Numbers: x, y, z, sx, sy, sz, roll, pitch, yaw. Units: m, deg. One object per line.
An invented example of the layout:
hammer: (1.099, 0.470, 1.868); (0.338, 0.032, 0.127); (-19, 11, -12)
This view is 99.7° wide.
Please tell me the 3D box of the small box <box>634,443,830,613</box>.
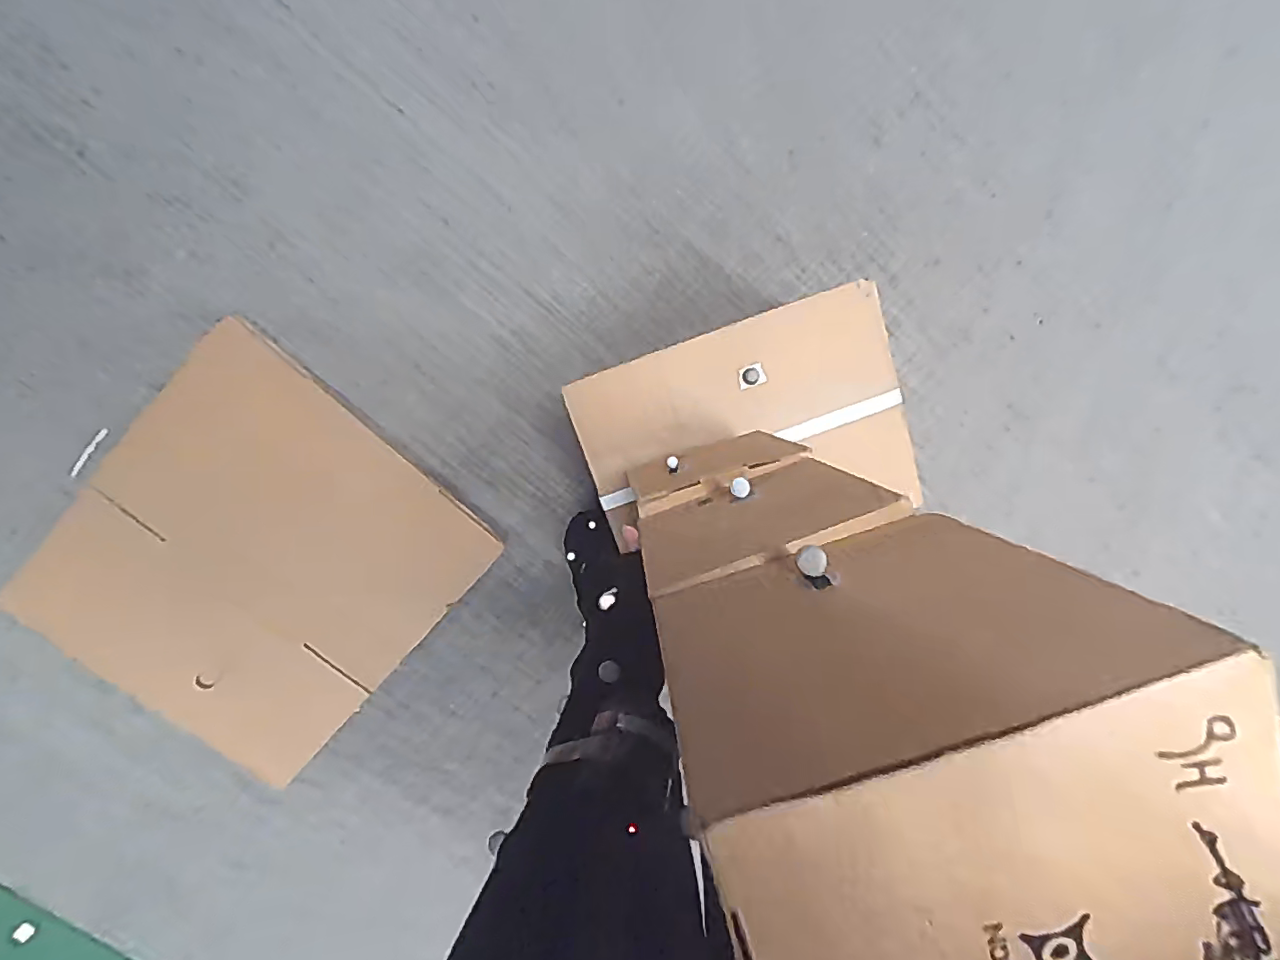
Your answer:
small box: (0.095, 0.065, 0.577); (0.168, 0.176, 0.179); (-17, 102, 1)
